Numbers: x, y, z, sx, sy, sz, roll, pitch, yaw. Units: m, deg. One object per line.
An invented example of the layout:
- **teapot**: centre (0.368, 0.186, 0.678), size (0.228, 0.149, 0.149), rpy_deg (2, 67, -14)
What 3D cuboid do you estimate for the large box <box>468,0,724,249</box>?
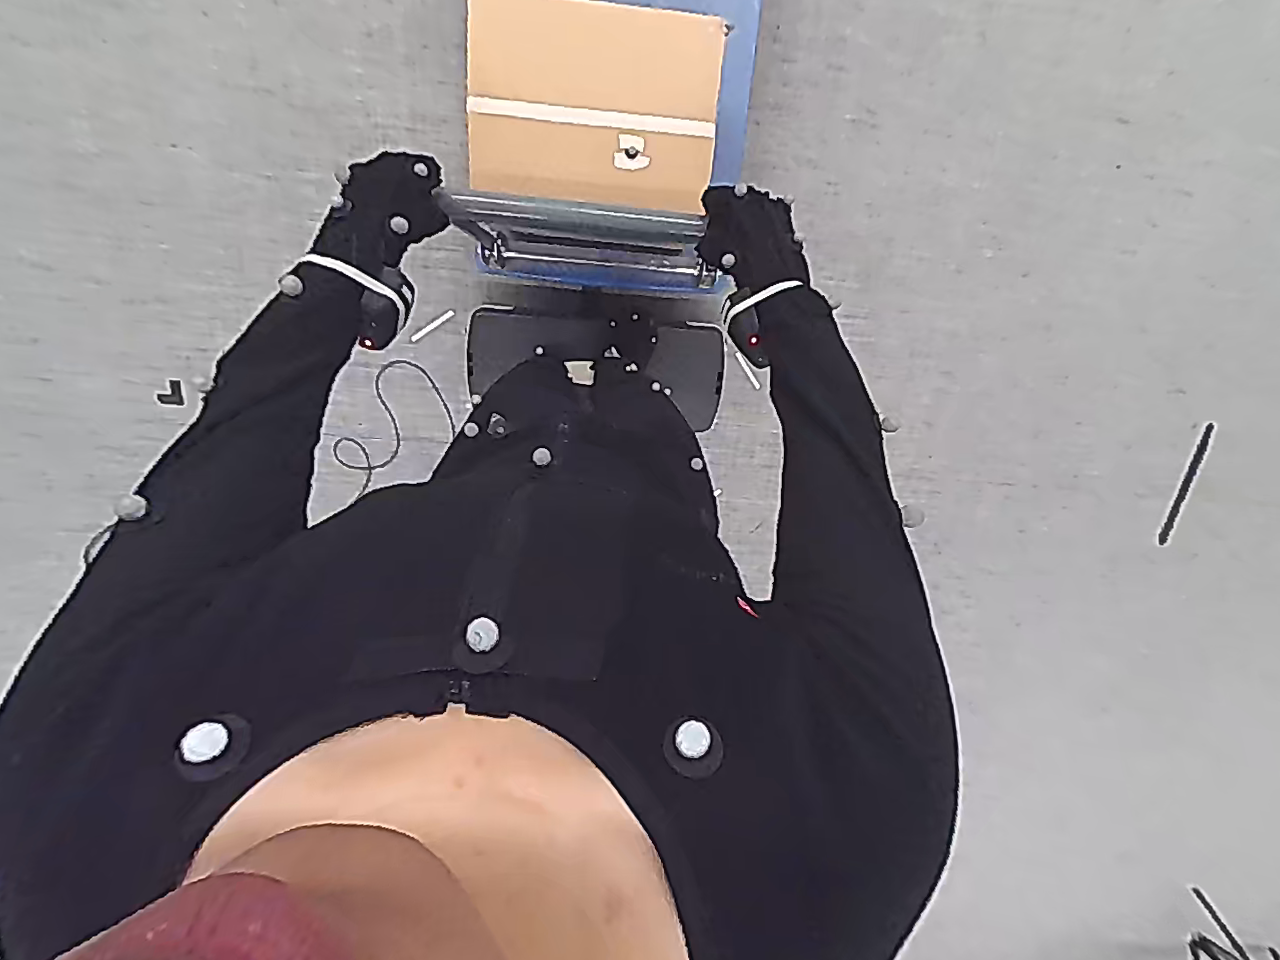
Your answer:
- **large box**: centre (-0.083, -0.628, 1.022), size (0.408, 0.320, 0.320), rpy_deg (4, 109, -4)
